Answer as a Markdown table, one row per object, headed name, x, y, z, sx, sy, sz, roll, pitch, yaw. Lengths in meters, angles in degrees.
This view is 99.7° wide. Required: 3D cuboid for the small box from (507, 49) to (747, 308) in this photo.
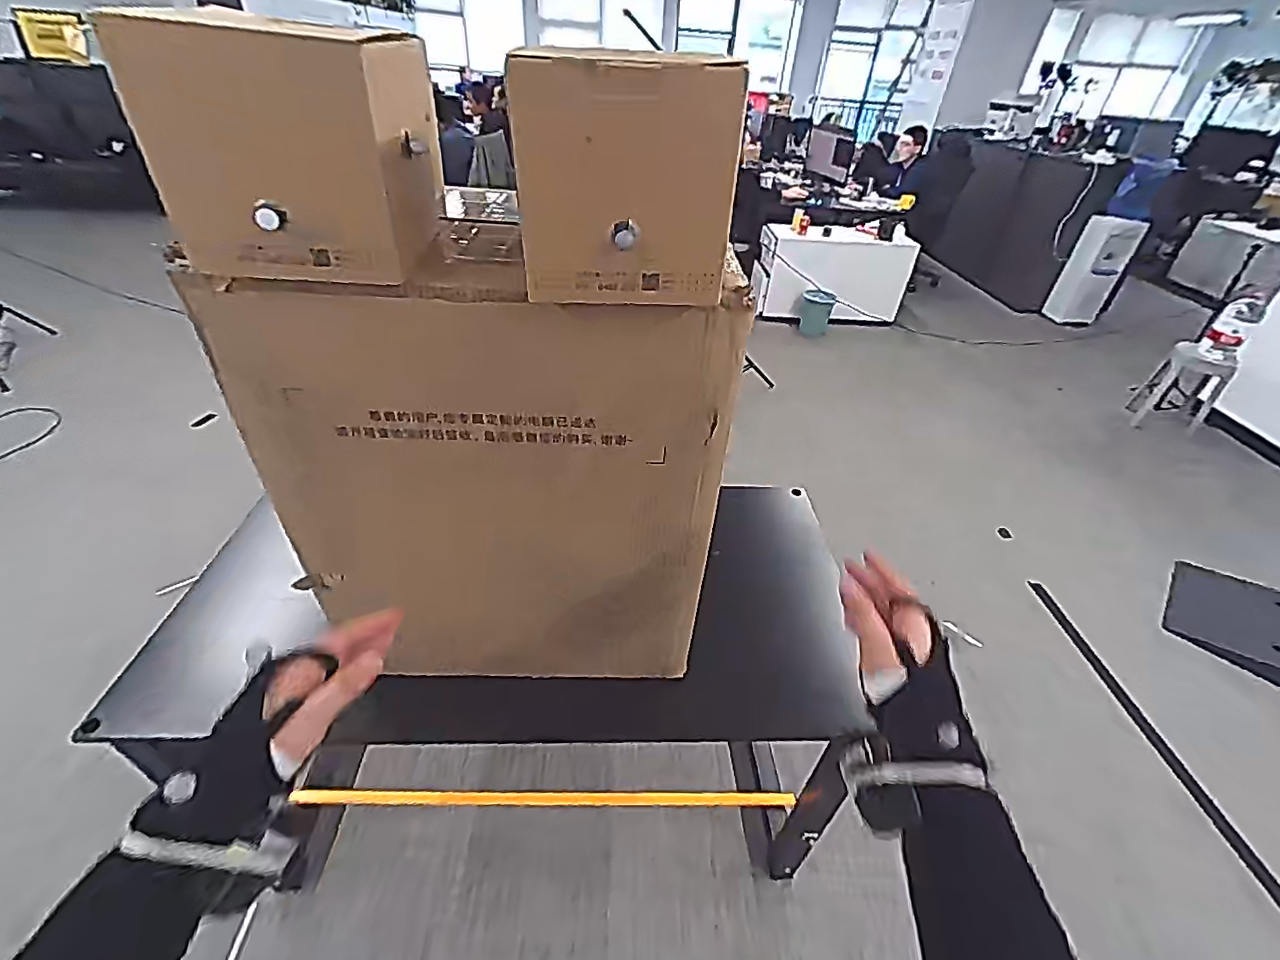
| name | x | y | z | sx | sy | sz | roll | pitch | yaw |
| --- | --- | --- | --- | --- | --- | --- | --- | --- | --- |
| small box | -0.014 | -0.267 | 0.478 | 0.168 | 0.176 | 0.179 | 0 | 40 | -3 |
